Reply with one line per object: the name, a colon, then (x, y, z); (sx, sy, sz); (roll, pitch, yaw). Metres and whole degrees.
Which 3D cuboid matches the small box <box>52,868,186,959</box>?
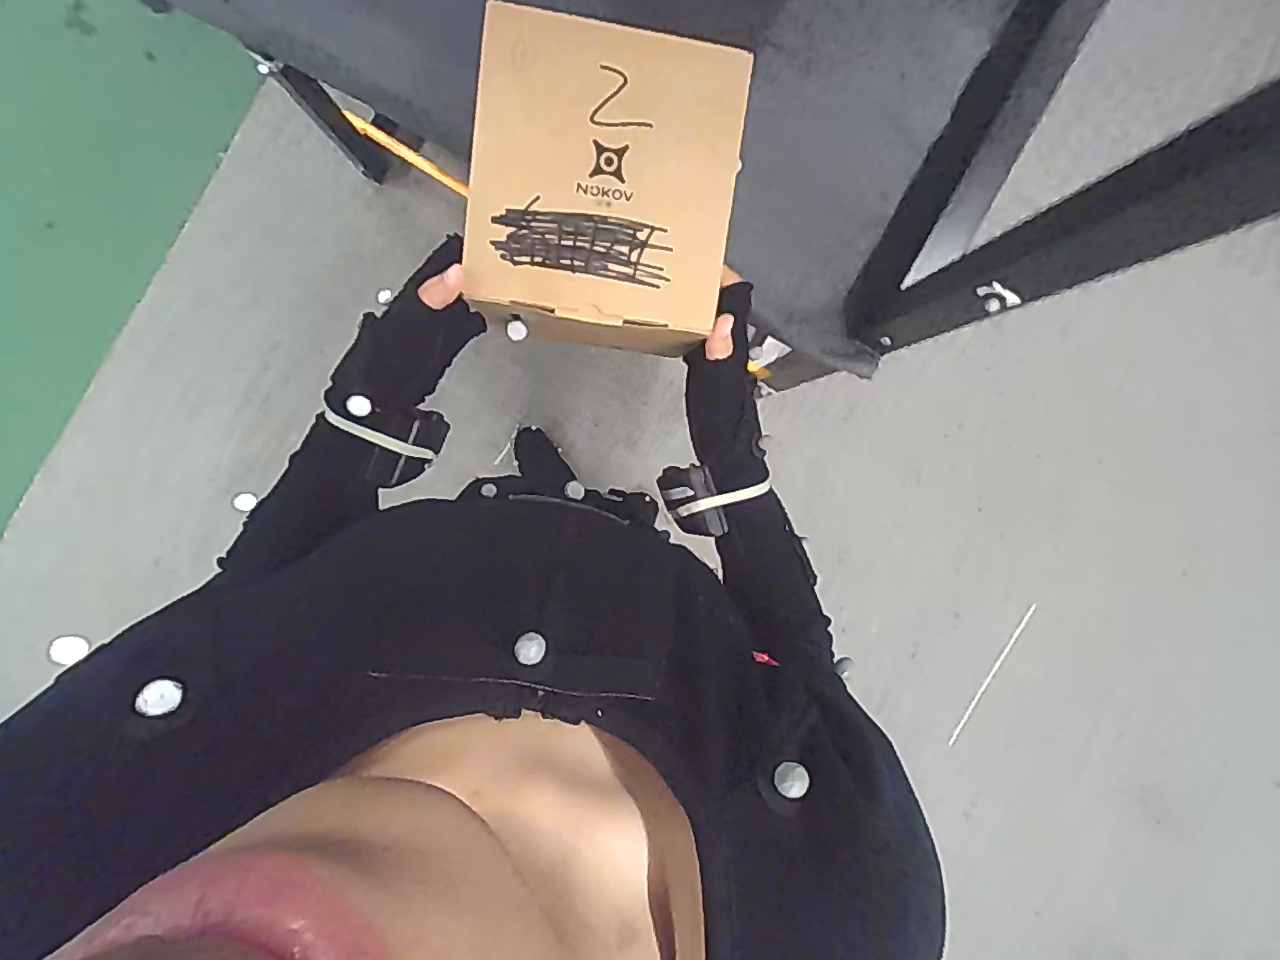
small box: (-1.335, 1.164, 1.390); (0.168, 0.176, 0.179); (32, 90, -4)
